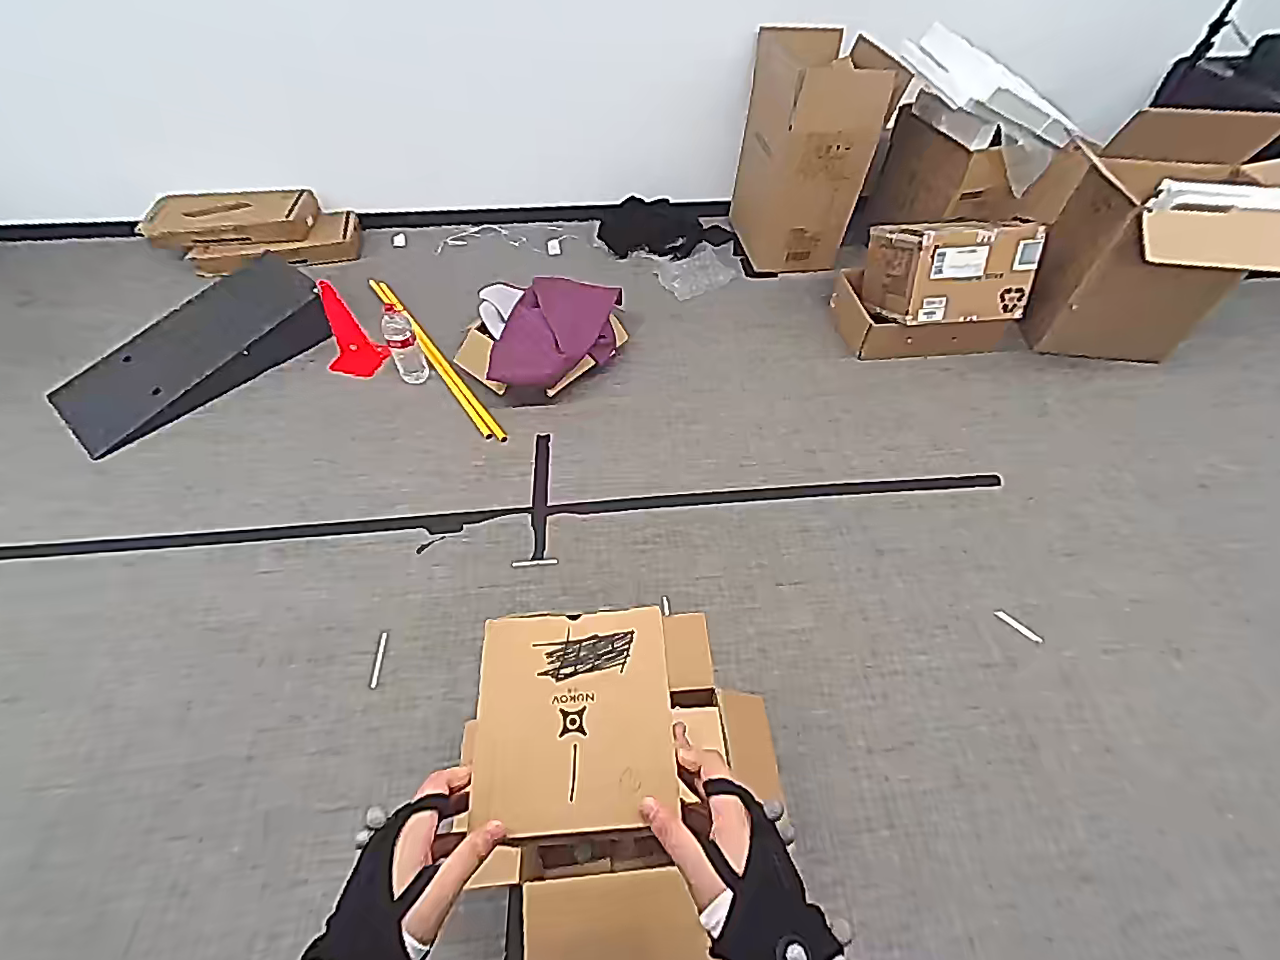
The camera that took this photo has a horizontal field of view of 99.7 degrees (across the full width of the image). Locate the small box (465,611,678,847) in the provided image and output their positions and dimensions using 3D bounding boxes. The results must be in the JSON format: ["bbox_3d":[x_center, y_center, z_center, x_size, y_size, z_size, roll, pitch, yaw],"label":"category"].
[{"bbox_3d":[-0.056,0.245,0.525,0.168,0.176,0.179,-5,56,-1],"label":"small box"}]
